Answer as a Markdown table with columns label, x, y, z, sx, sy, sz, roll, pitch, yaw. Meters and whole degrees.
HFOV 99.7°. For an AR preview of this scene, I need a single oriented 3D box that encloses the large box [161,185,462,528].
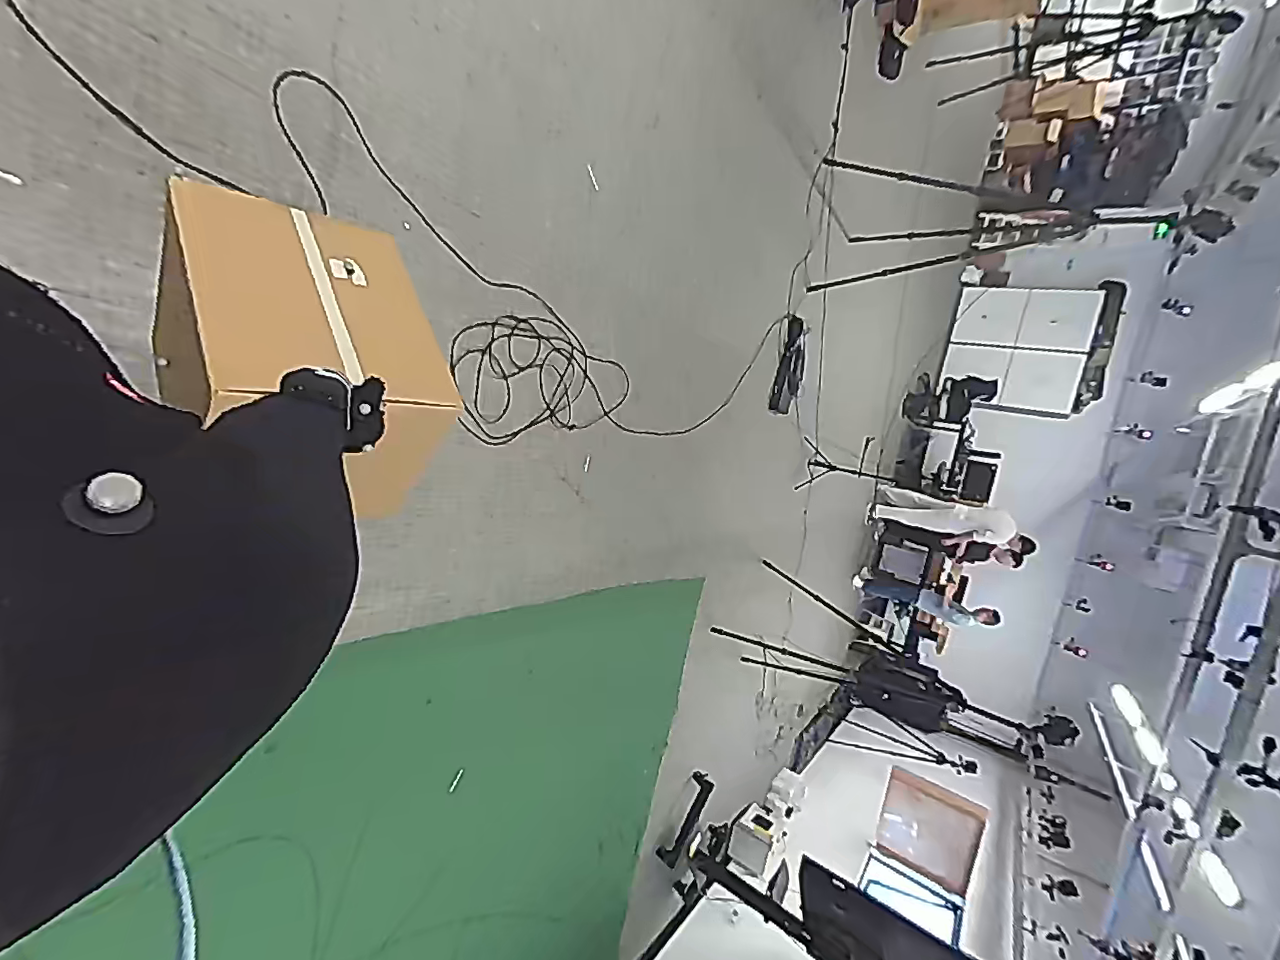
| label | x | y | z | sx | sy | sz | roll | pitch | yaw |
| --- | --- | --- | --- | --- | --- | --- | --- | --- | --- |
| large box | -0.554 | -0.180 | 0.890 | 0.320 | 0.408 | 0.320 | -2 | 145 | -48 |
